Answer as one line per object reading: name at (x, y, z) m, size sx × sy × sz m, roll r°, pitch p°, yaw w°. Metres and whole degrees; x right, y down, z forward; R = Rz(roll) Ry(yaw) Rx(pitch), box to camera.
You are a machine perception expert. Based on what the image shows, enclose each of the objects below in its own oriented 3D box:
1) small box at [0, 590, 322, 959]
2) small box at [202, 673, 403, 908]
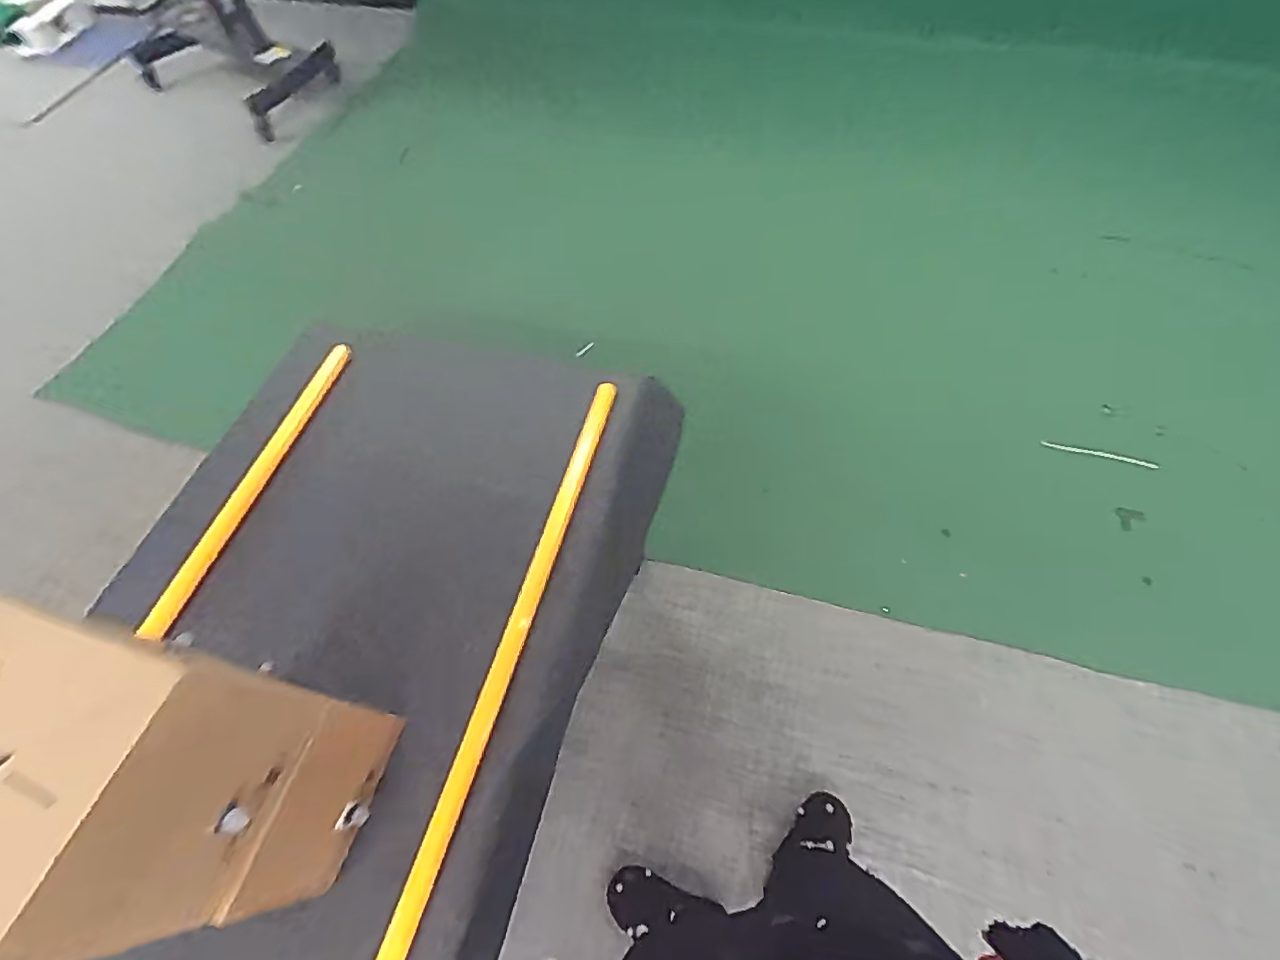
small box at (-0.389, 0.204, 0.396) m, size 0.179 × 0.176 × 0.168 m, roll 15°, pitch 63°, yaw 10°
small box at (-0.377, 0.287, 0.538) m, size 0.179 × 0.176 × 0.168 m, roll 11°, pitch 62°, yaw 8°
